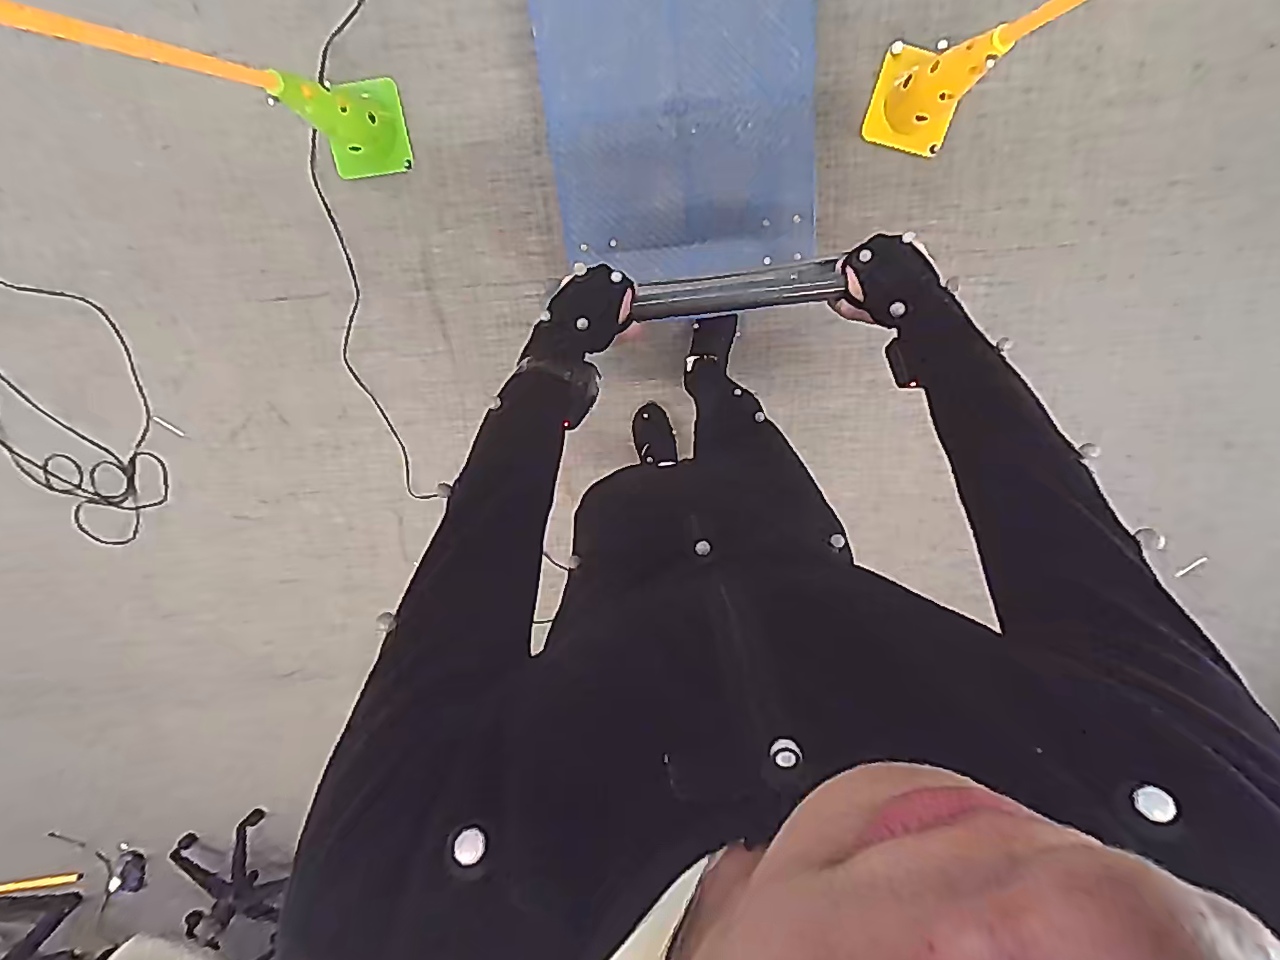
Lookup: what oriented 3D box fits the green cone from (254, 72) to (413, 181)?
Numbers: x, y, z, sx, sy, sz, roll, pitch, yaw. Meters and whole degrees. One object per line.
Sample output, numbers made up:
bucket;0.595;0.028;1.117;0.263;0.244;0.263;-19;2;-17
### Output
green cone;-0.687;-0.805;1.176;0.202;0.368;0.200;-6;109;6
